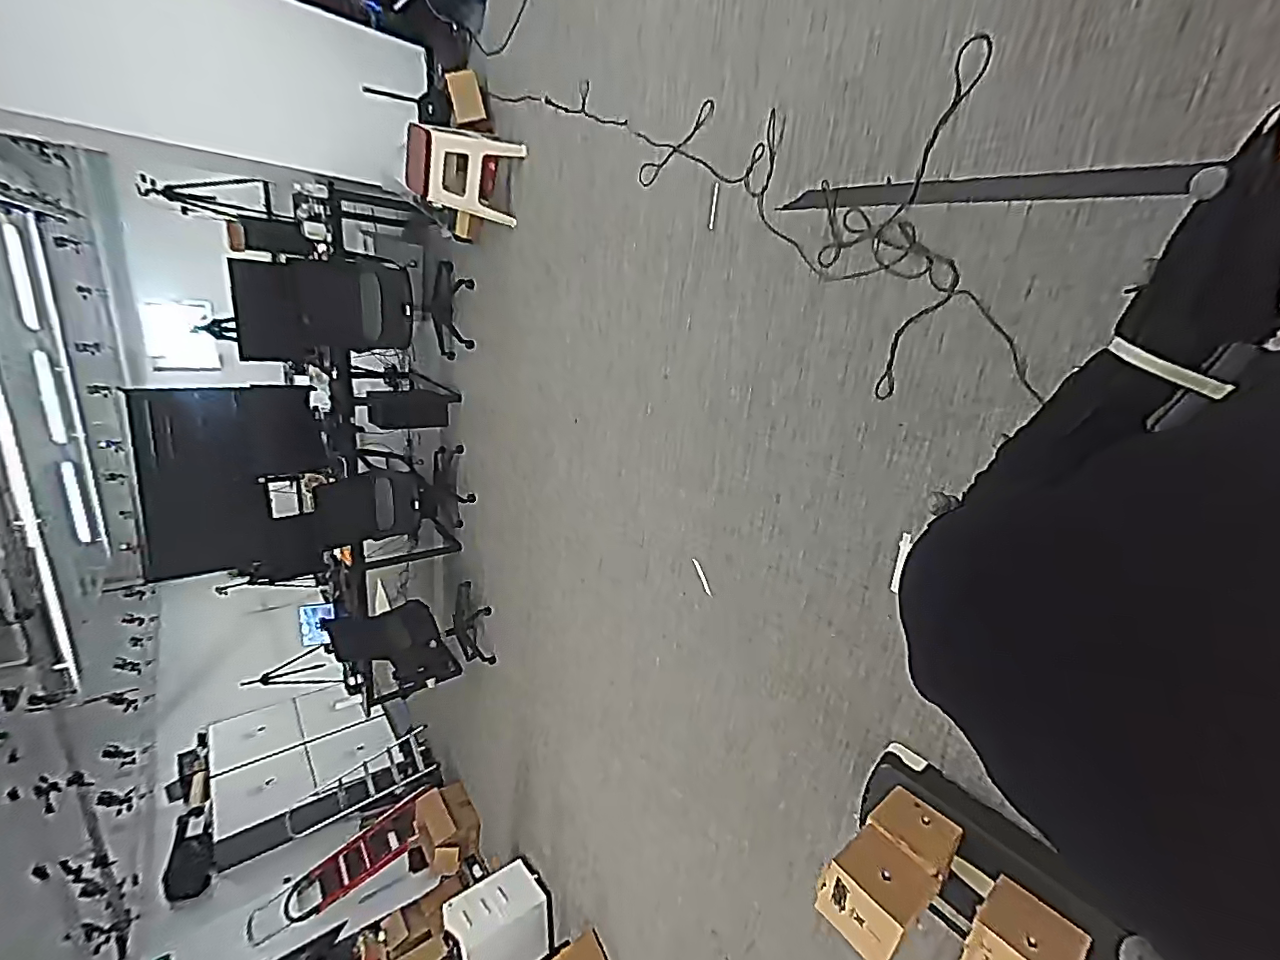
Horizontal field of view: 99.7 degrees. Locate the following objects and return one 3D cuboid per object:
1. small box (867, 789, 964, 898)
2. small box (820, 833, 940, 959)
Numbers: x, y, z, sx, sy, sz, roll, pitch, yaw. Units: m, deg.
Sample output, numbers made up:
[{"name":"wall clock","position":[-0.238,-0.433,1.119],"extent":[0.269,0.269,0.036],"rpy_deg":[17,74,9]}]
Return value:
[{"name":"small box","position":[0.682,0.929,1.357],"extent":[0.168,0.176,0.179],"rpy_deg":[23,115,47]},{"name":"small box","position":[0.556,0.966,1.257],"extent":[0.179,0.176,0.168],"rpy_deg":[30,120,44]}]
